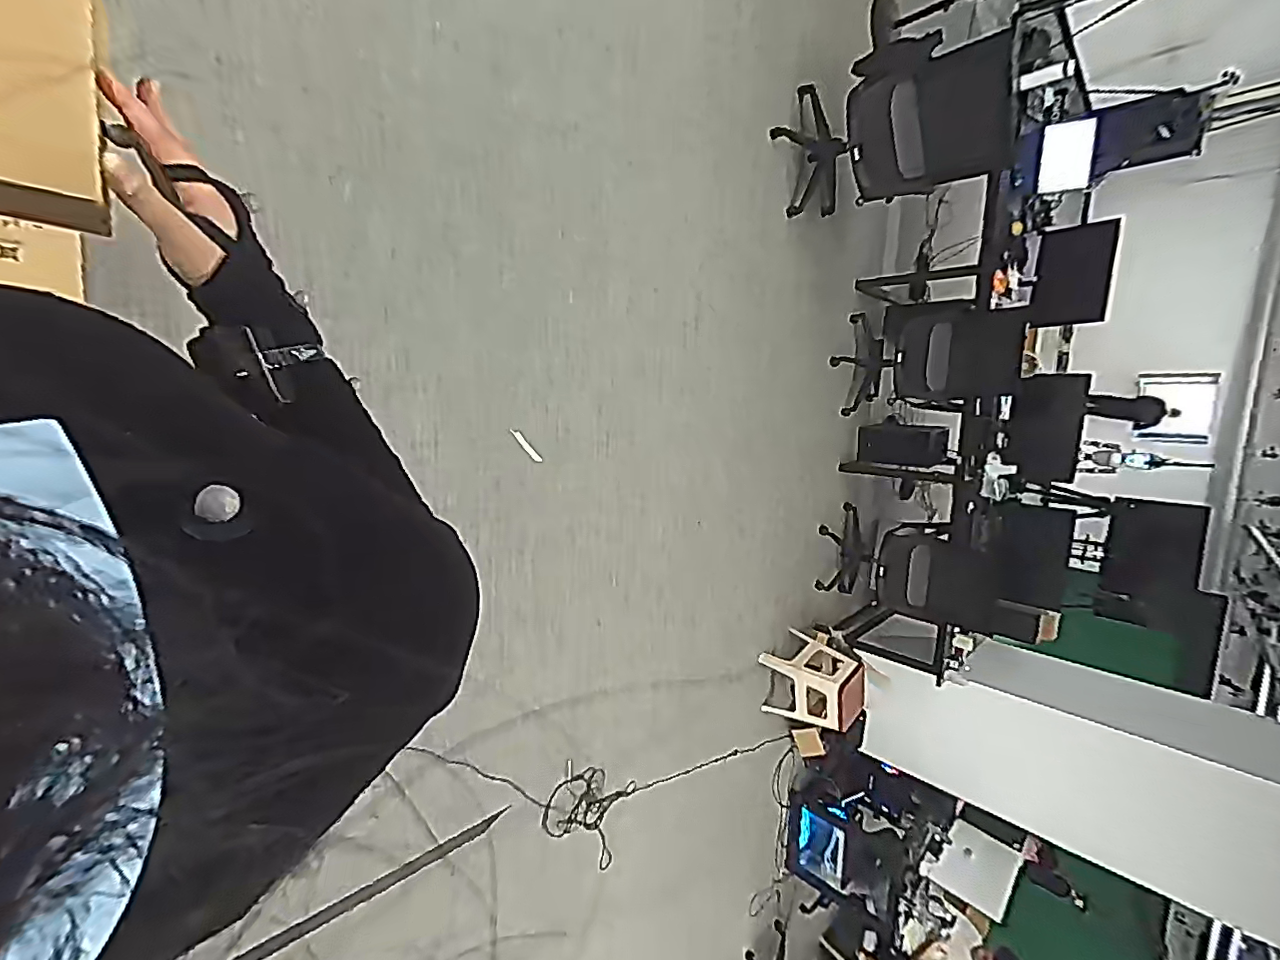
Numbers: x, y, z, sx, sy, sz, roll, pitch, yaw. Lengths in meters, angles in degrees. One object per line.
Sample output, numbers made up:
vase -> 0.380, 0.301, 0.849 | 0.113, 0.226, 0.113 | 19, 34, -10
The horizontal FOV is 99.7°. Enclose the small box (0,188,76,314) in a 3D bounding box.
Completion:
small box -> -1.081, -0.388, 0.918 | 0.168, 0.176, 0.179 | -3, 98, -46
